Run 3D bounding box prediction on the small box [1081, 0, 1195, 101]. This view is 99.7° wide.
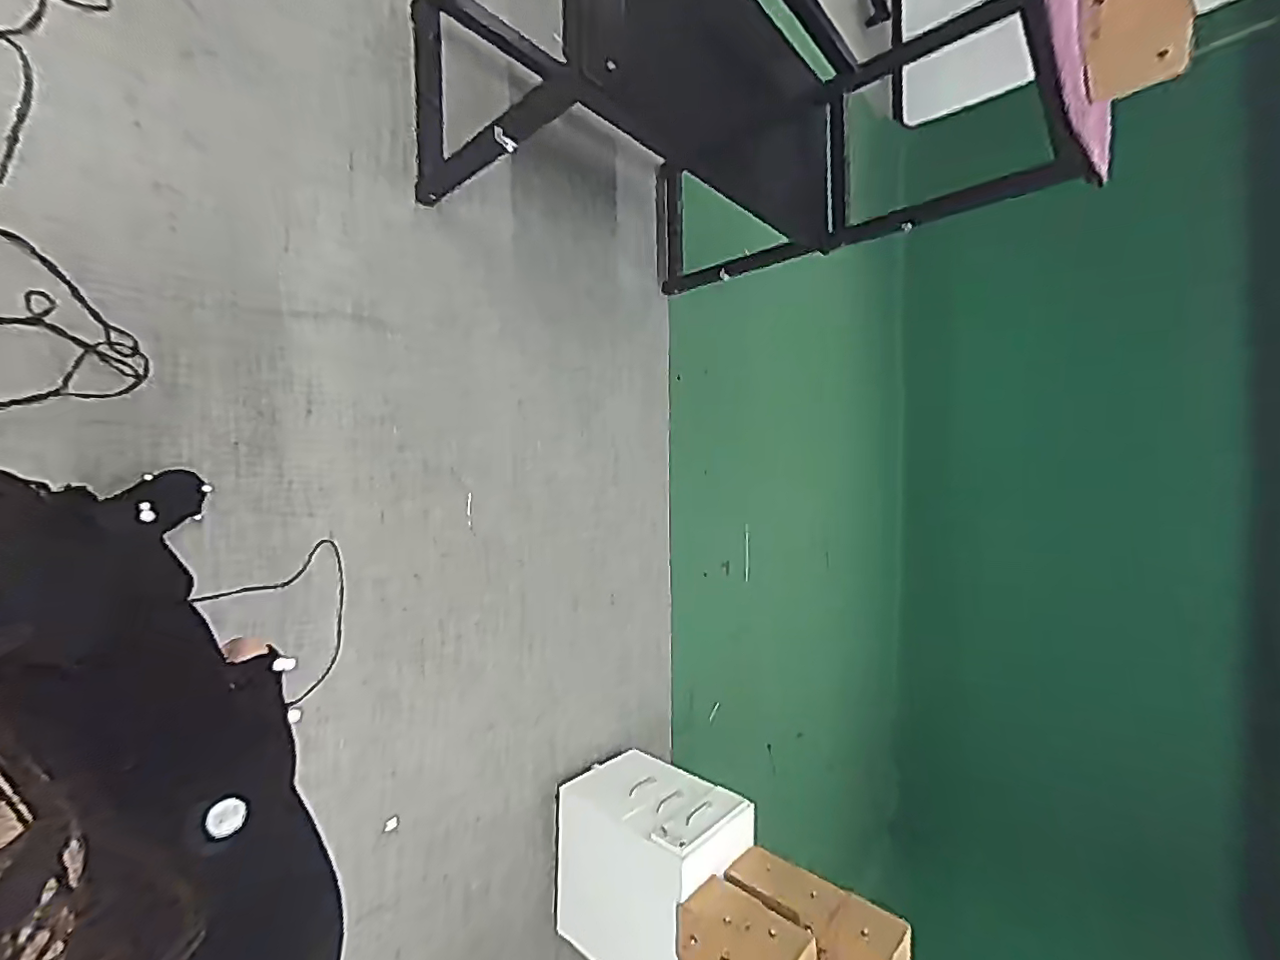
[{"bbox_3d":[1.056,-0.962,1.155,0.179,0.176,0.168,0,88,-48],"label":"small box"}]

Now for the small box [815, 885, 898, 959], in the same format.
[{"bbox_3d":[0.600,1.289,1.503,0.179,0.176,0.168,2,91,-48],"label":"small box"}]

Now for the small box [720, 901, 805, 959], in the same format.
[{"bbox_3d":[0.323,1.275,1.440,0.168,0.176,0.179,3,90,-48],"label":"small box"}]

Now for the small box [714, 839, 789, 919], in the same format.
[{"bbox_3d":[0.356,1.293,1.723,0.179,0.176,0.168,0,90,-46],"label":"small box"}]
